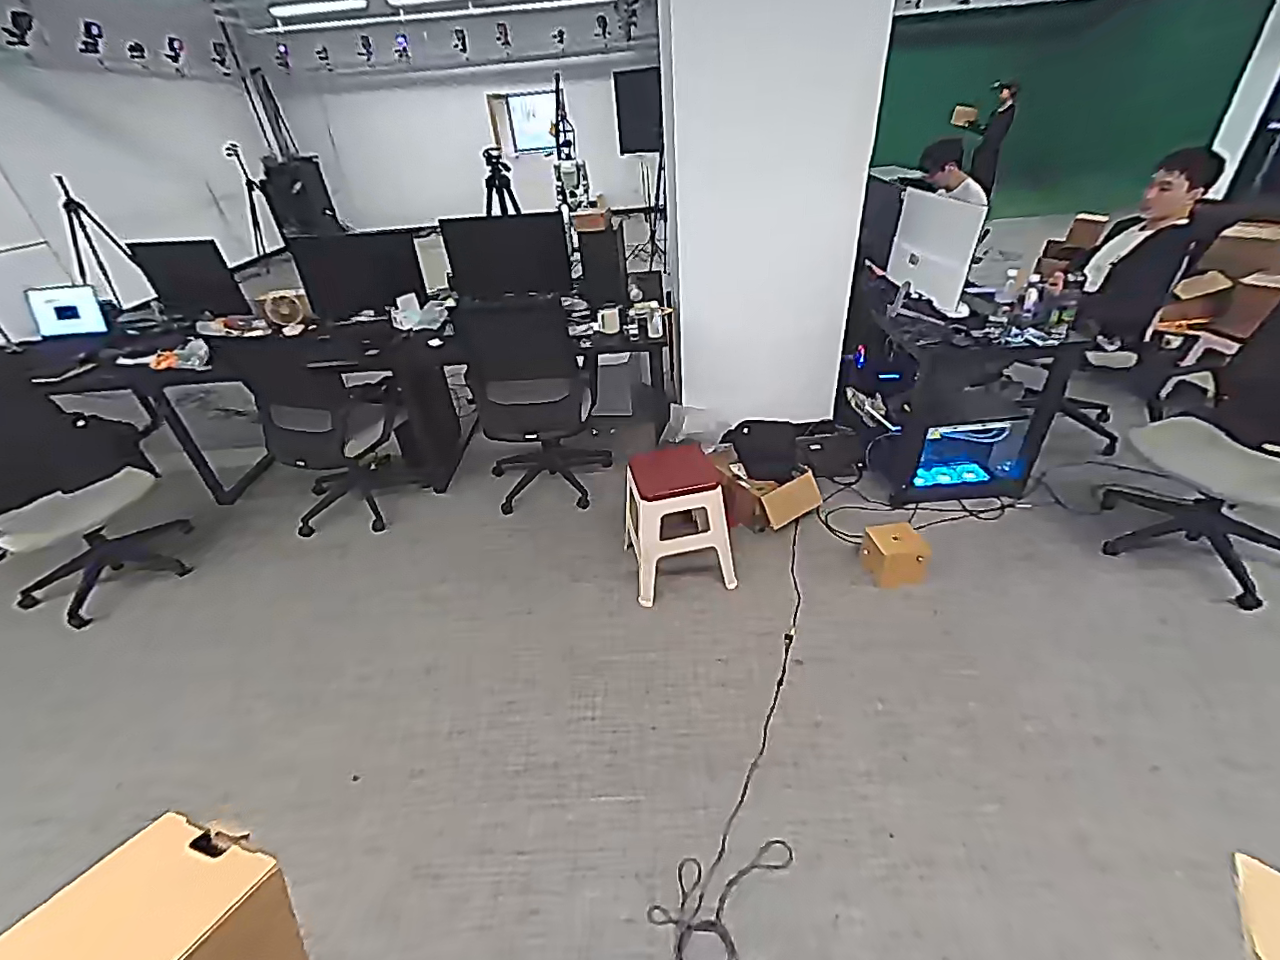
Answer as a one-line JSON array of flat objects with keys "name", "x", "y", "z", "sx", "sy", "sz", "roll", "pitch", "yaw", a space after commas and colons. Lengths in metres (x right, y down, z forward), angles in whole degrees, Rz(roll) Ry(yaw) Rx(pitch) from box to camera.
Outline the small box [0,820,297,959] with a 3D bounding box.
[{"name": "small box", "x": -0.444, "y": 0.463, "z": 0.485, "sx": 0.168, "sy": 0.176, "sz": 0.179, "roll": 5, "pitch": 18, "yaw": 20}]
